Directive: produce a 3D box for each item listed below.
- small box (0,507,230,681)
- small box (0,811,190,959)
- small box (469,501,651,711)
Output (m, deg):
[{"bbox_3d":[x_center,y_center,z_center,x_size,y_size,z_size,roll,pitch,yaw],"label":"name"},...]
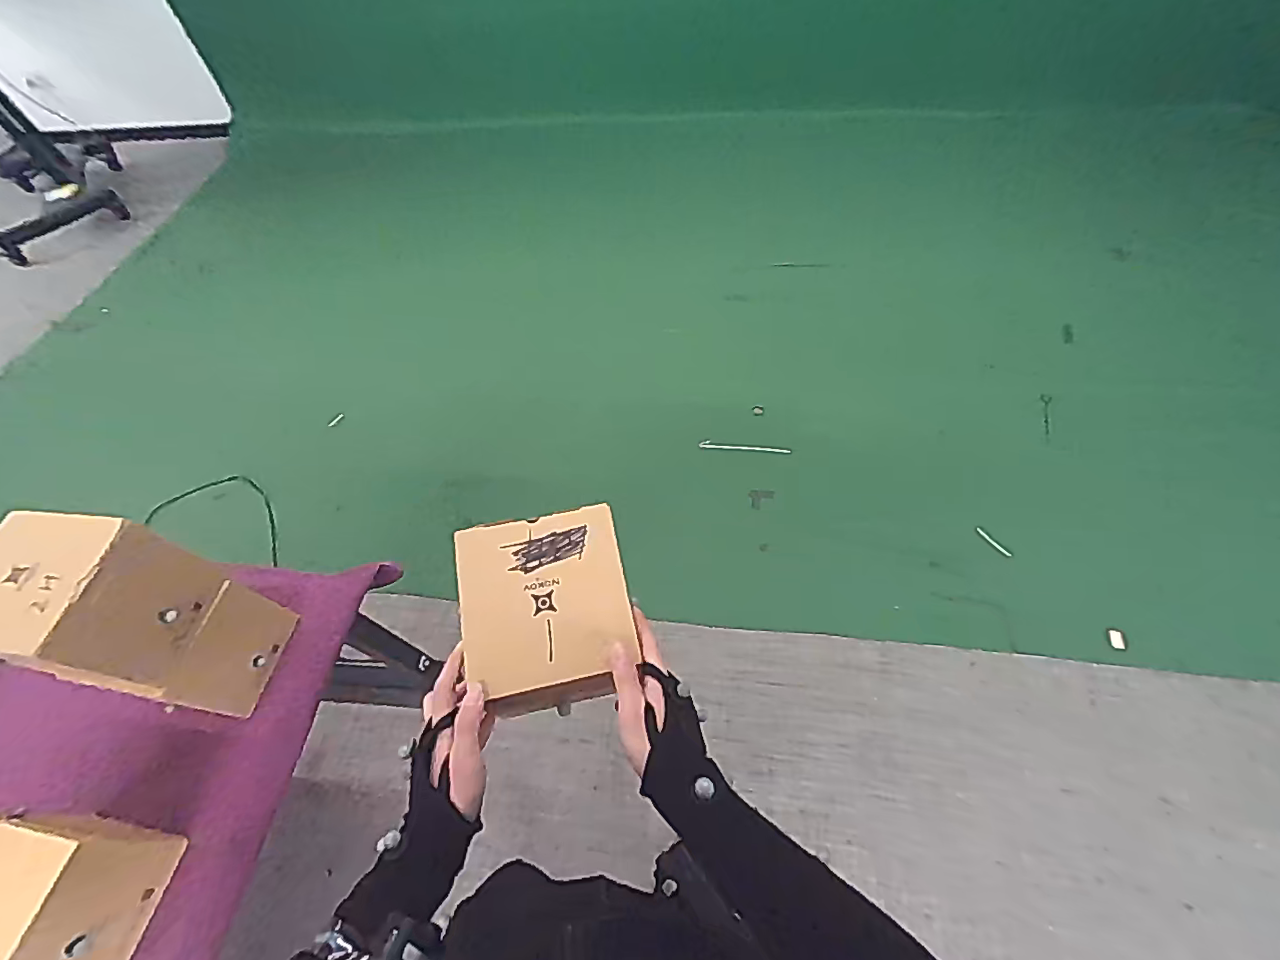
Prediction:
[{"bbox_3d":[-0.697,0.151,0.696,0.179,0.176,0.168,4,59,9],"label":"small box"},{"bbox_3d":[-0.725,0.515,0.665,0.179,0.176,0.168,4,58,11],"label":"small box"},{"bbox_3d":[-0.088,0.147,0.609,0.168,0.176,0.179,-10,63,-7],"label":"small box"}]
